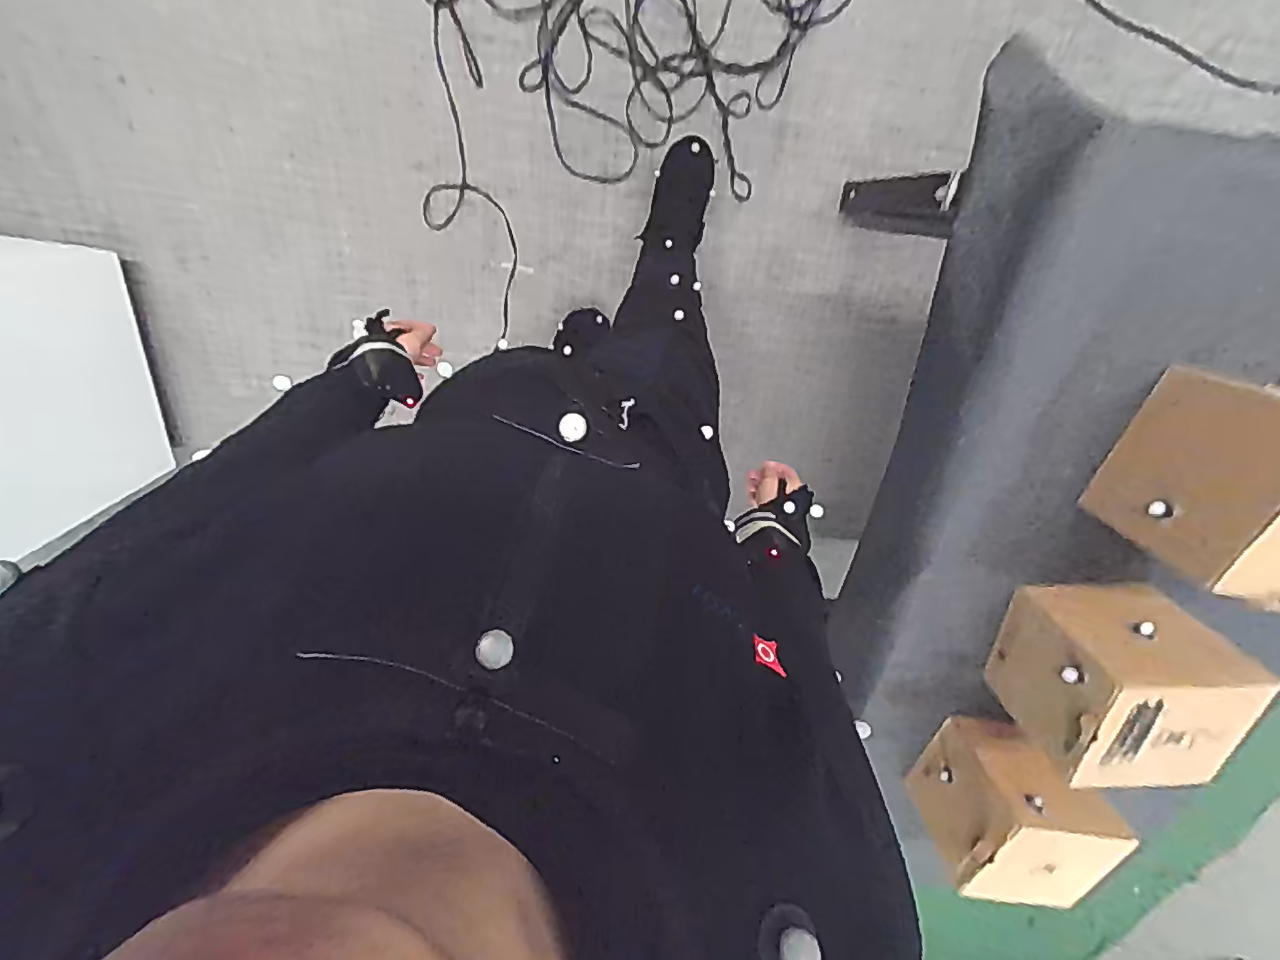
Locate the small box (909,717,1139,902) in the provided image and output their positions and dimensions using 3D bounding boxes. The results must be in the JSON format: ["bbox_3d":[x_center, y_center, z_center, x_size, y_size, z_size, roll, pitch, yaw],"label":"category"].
[{"bbox_3d":[0.538,0.474,0.788,0.179,0.176,0.168,11,117,-7],"label":"small box"}]

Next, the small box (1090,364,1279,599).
[{"bbox_3d":[0.617,0.001,0.545,0.168,0.176,0.179,9,116,-8],"label":"small box"}]
